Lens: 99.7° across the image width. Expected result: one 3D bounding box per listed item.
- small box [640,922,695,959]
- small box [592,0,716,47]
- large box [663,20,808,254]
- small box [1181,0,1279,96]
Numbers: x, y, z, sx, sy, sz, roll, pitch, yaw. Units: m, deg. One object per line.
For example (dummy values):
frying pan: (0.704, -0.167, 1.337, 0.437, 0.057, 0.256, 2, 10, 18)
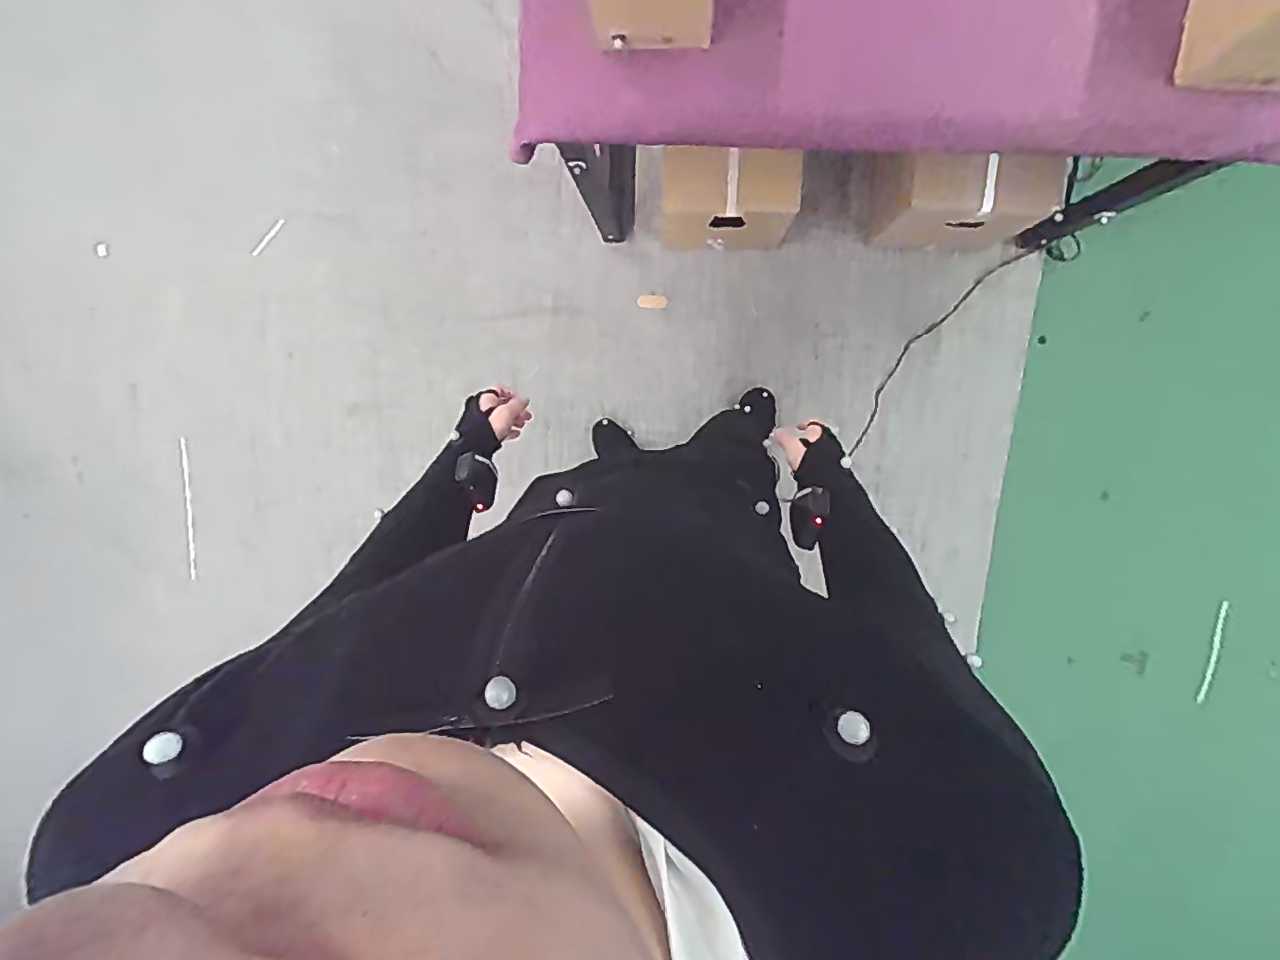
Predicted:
small box: (0.078, 1.564, 1.706, 0.168, 0.176, 0.179, 10, 97, 6)
small box: (0.021, -0.708, 0.707, 0.168, 0.176, 0.179, 2, 97, 4)
large box: (0.222, -0.815, 1.346, 0.320, 0.320, 0.408, 2, 97, 4)
small box: (0.822, -0.611, 0.653, 0.168, 0.176, 0.179, 6, 96, 5)
